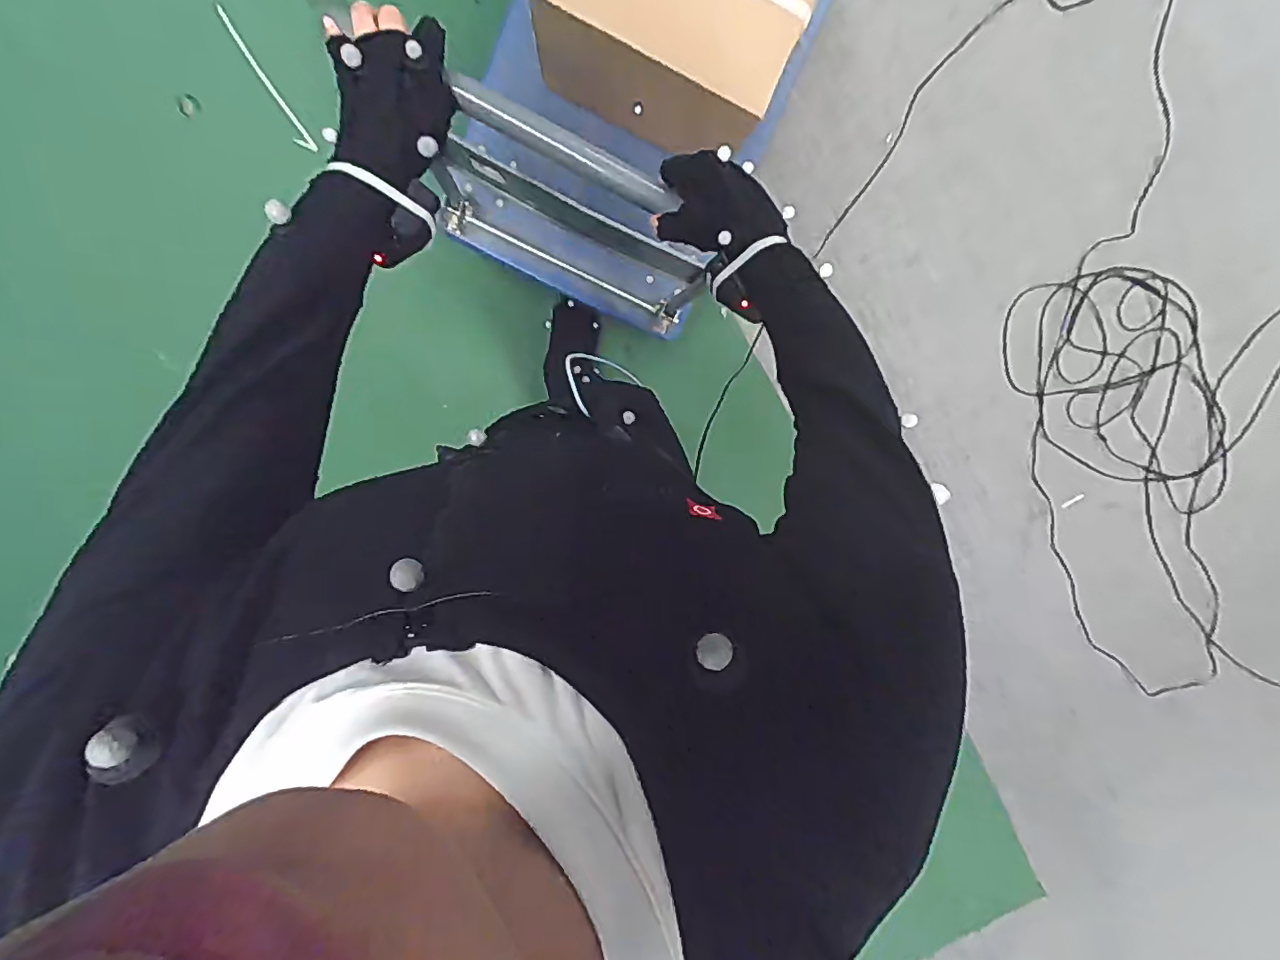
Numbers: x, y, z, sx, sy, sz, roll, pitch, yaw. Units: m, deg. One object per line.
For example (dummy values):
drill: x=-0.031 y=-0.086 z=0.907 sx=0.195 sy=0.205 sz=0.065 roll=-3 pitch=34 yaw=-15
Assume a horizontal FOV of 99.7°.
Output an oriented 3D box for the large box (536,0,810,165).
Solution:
large box: x=0.068 y=-0.841 z=0.961 sx=0.408 sy=0.320 sz=0.320 roll=22 pitch=100 yaw=-10
